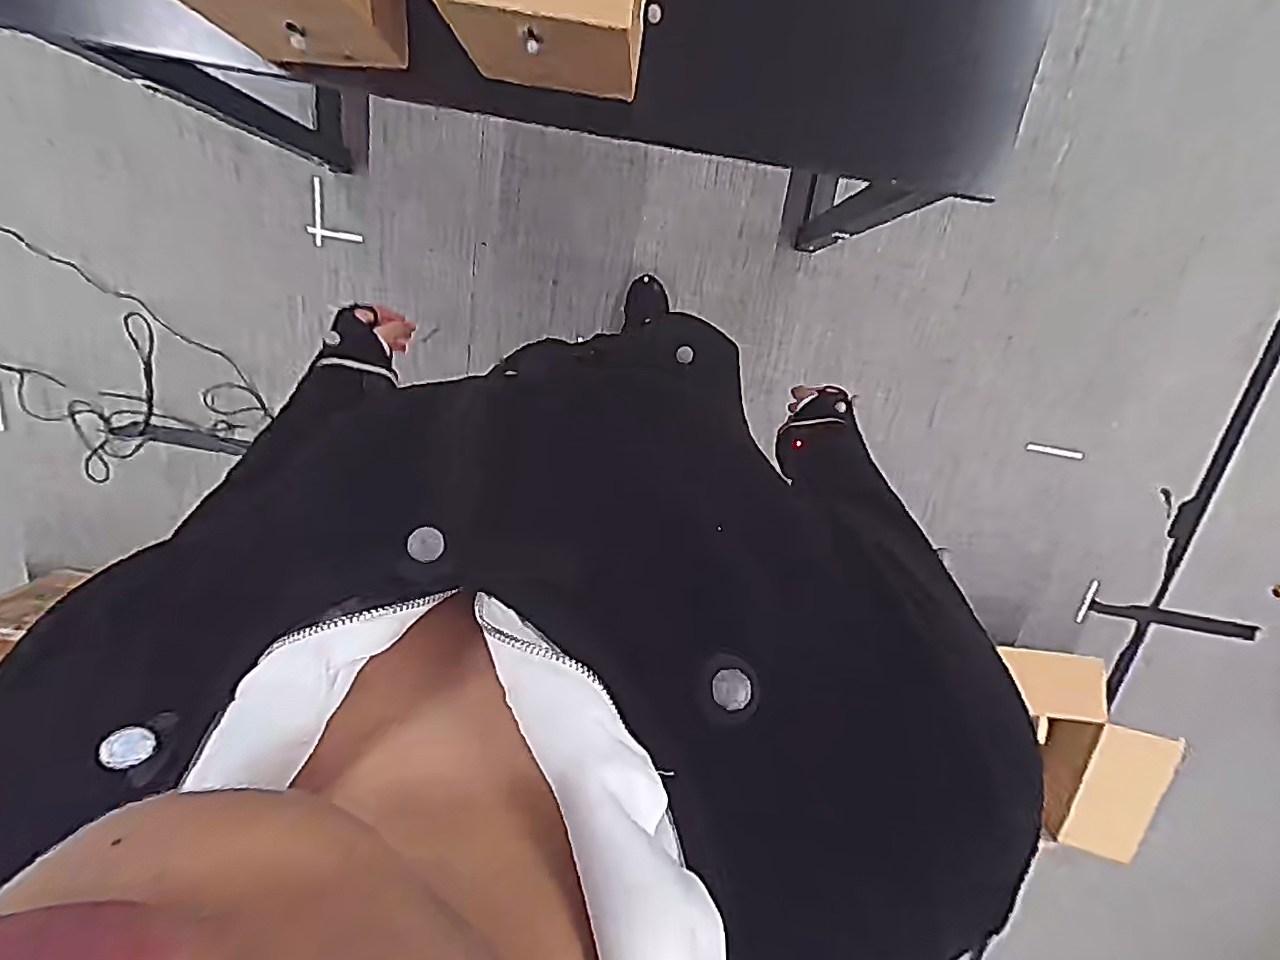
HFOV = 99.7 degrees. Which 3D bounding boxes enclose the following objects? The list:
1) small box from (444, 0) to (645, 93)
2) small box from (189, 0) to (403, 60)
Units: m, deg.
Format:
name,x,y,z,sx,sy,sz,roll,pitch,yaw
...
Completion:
name,x,y,z,sx,sy,sz,roll,pitch,yaw
small box,-0.084,-0.501,0.513,0.179,0.176,0.168,8,107,-2
small box,-0.340,-0.531,0.507,0.168,0.176,0.179,3,107,0
